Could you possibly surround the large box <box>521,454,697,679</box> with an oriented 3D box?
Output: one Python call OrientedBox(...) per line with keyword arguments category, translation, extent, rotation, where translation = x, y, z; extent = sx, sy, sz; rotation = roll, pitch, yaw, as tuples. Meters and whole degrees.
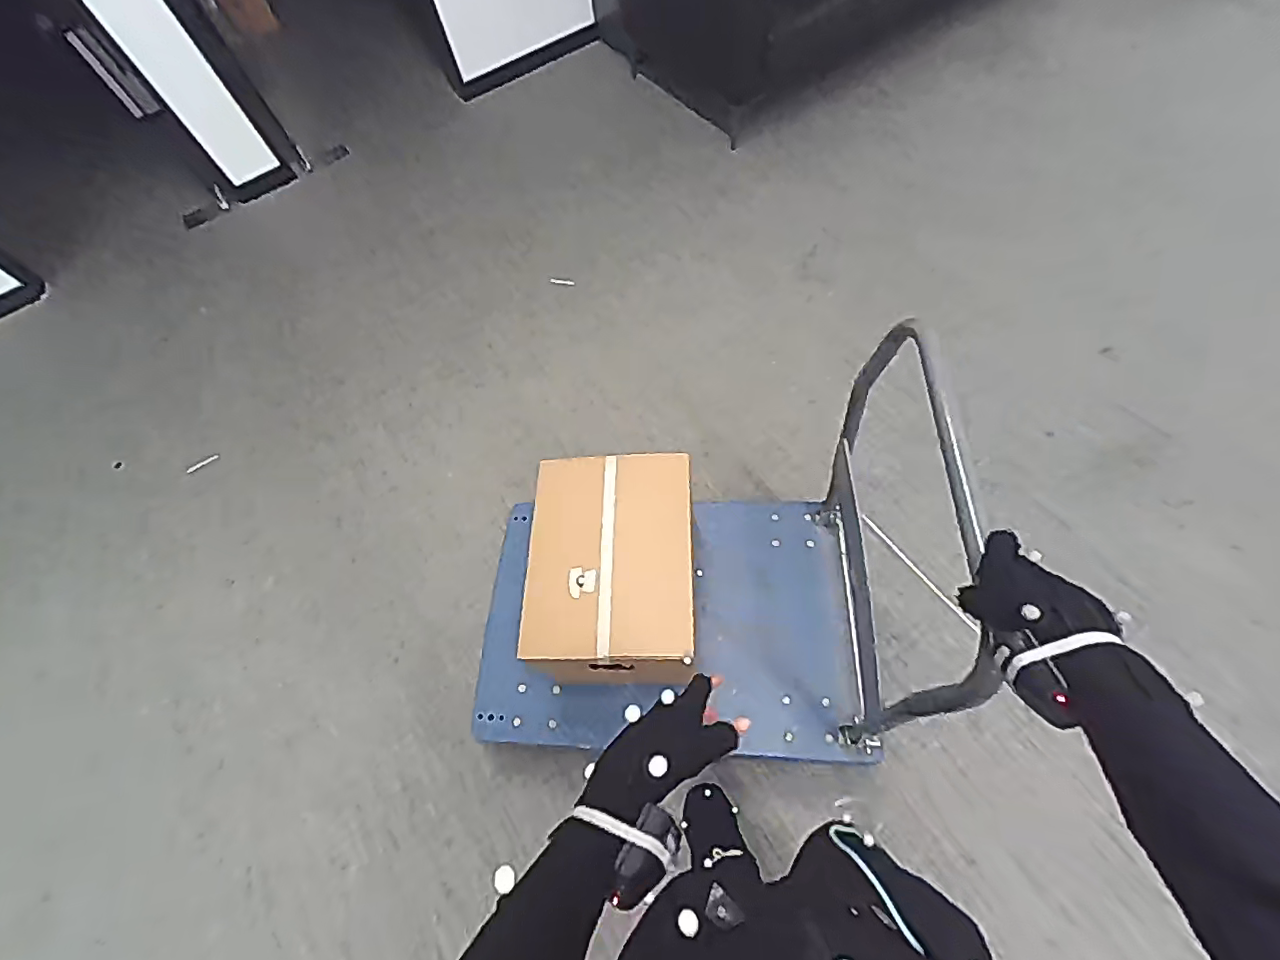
OrientedBox(category="large box", translation=(-0.044, 0.197, 1.160), extent=(0.320, 0.320, 0.408), rotation=(-3, 63, 8))
